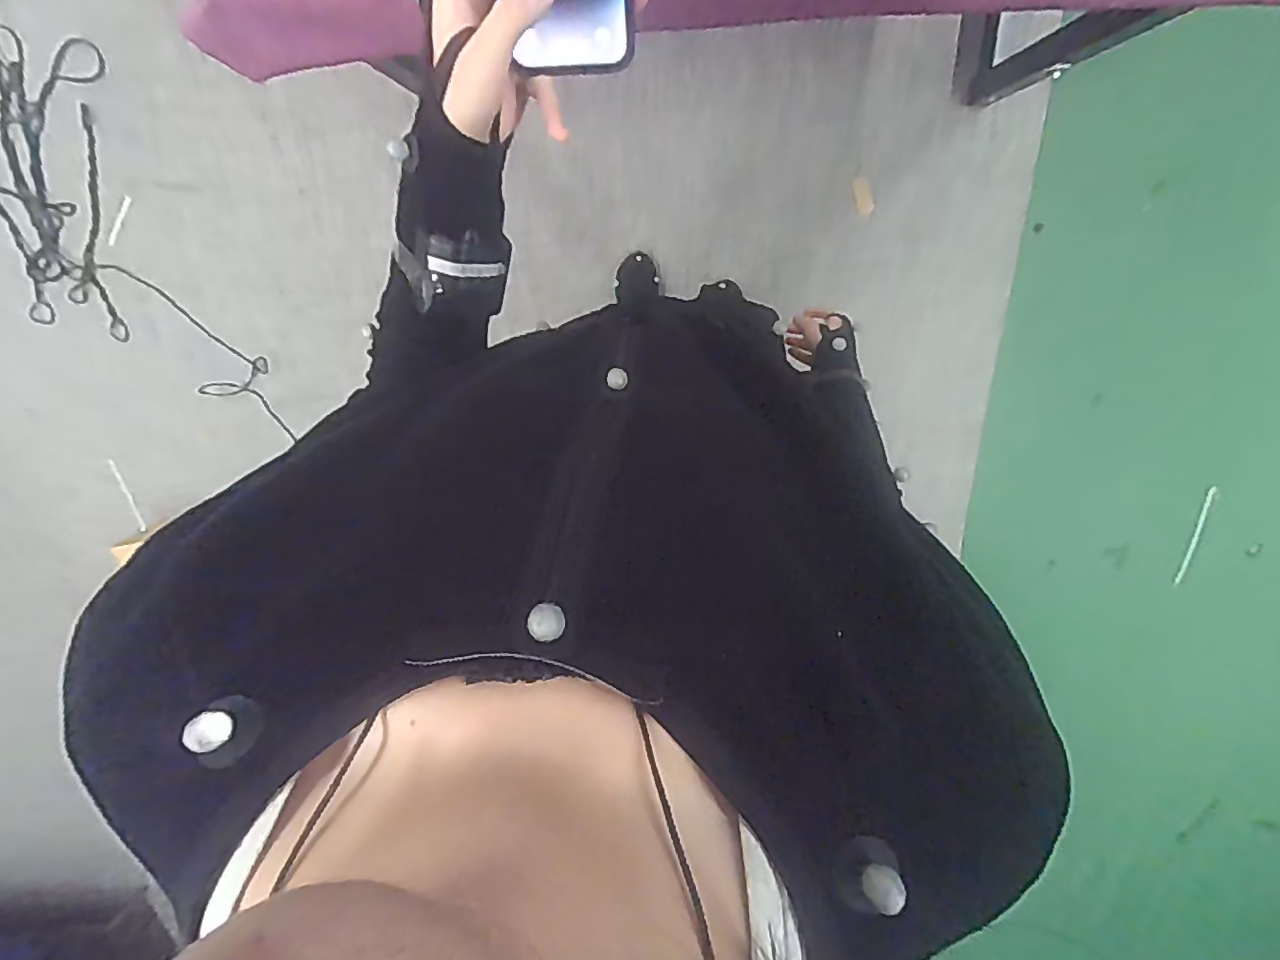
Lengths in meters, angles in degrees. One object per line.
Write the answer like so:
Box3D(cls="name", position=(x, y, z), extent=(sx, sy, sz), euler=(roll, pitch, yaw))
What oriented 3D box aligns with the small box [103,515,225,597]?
Box3D(cls="small box", position=(-1.405, 0.222, 1.610), extent=(0.179, 0.176, 0.168), euler=(-12, 113, 6))
